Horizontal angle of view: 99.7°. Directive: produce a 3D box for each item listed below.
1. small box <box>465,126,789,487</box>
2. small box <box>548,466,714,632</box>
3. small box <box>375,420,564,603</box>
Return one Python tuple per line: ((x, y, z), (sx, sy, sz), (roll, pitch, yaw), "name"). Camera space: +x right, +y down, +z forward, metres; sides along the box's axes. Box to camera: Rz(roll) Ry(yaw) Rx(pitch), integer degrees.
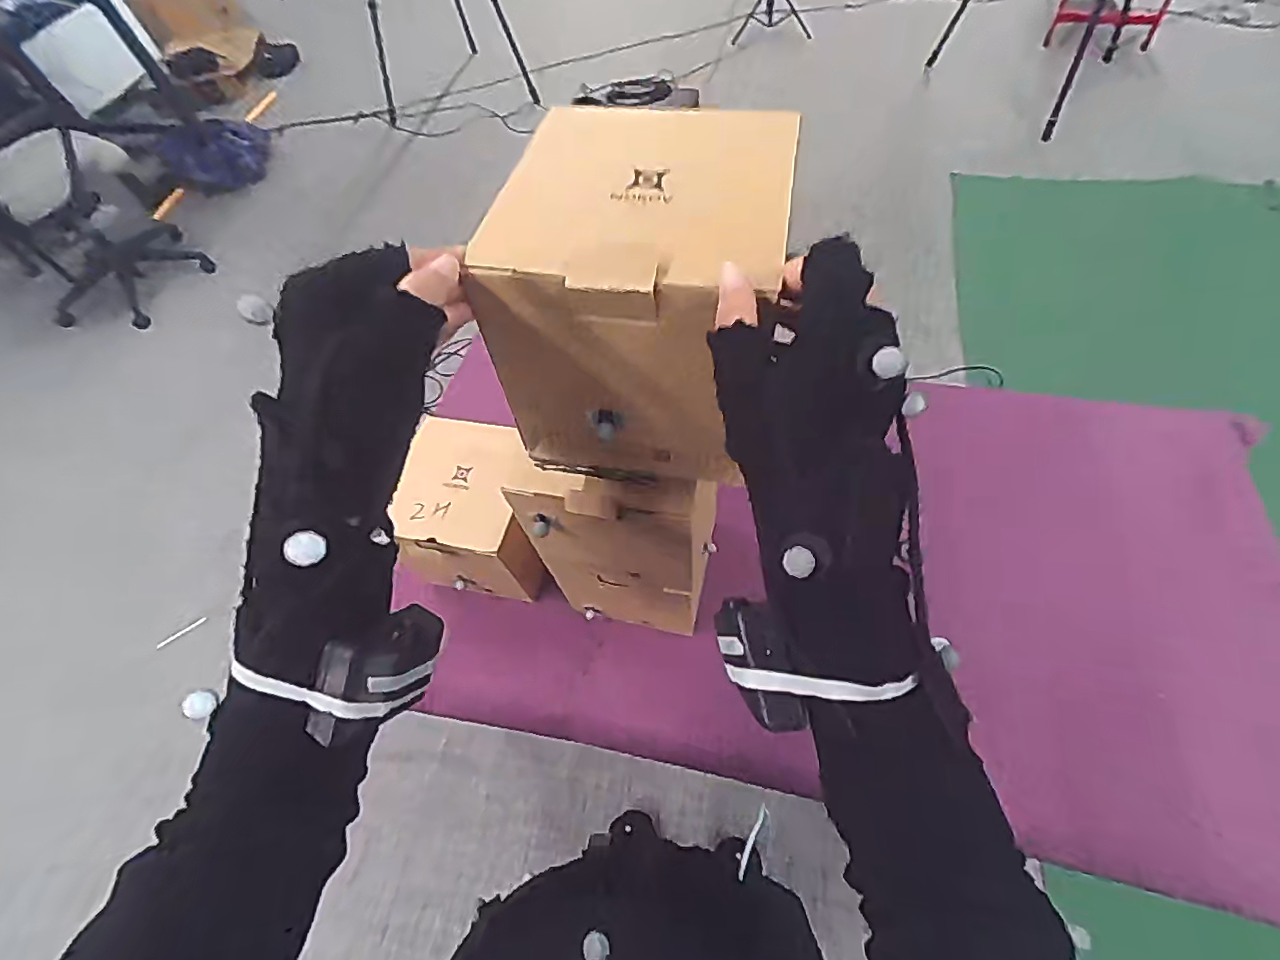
((0.005, -0.120, 0.387), (0.168, 0.176, 0.179), (8, 57, 9), "small box")
((0.002, 0.079, 0.694), (0.168, 0.176, 0.179), (10, 60, 11), "small box")
((-0.212, 0.045, 0.734), (0.168, 0.176, 0.179), (8, 60, 11), "small box")
